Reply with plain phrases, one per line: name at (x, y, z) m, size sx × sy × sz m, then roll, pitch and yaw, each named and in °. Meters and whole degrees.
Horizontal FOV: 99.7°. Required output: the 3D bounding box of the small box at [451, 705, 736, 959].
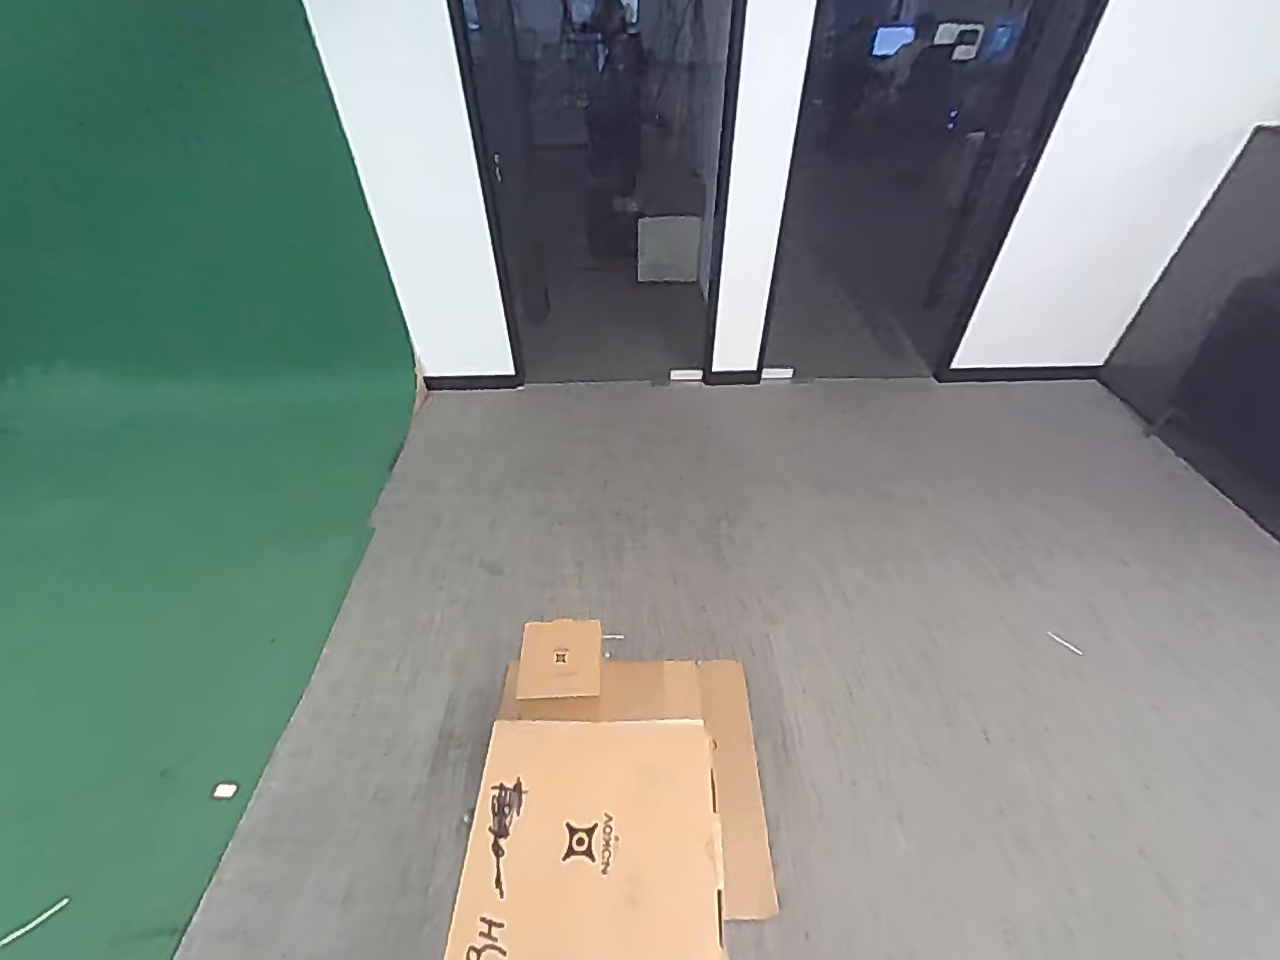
small box at (-0.027, 0.301, 0.434) m, size 0.179 × 0.176 × 0.168 m, roll 3°, pitch 44°, yaw 1°

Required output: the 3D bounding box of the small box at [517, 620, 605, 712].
small box at (-0.162, 0.422, 1.157) m, size 0.168 × 0.176 × 0.179 m, roll -2°, pitch 42°, yaw -2°

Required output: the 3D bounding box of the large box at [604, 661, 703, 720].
large box at (-0.063, 0.648, 1.270) m, size 0.408 × 0.320 × 0.320 m, roll 0°, pitch 43°, yaw -2°
